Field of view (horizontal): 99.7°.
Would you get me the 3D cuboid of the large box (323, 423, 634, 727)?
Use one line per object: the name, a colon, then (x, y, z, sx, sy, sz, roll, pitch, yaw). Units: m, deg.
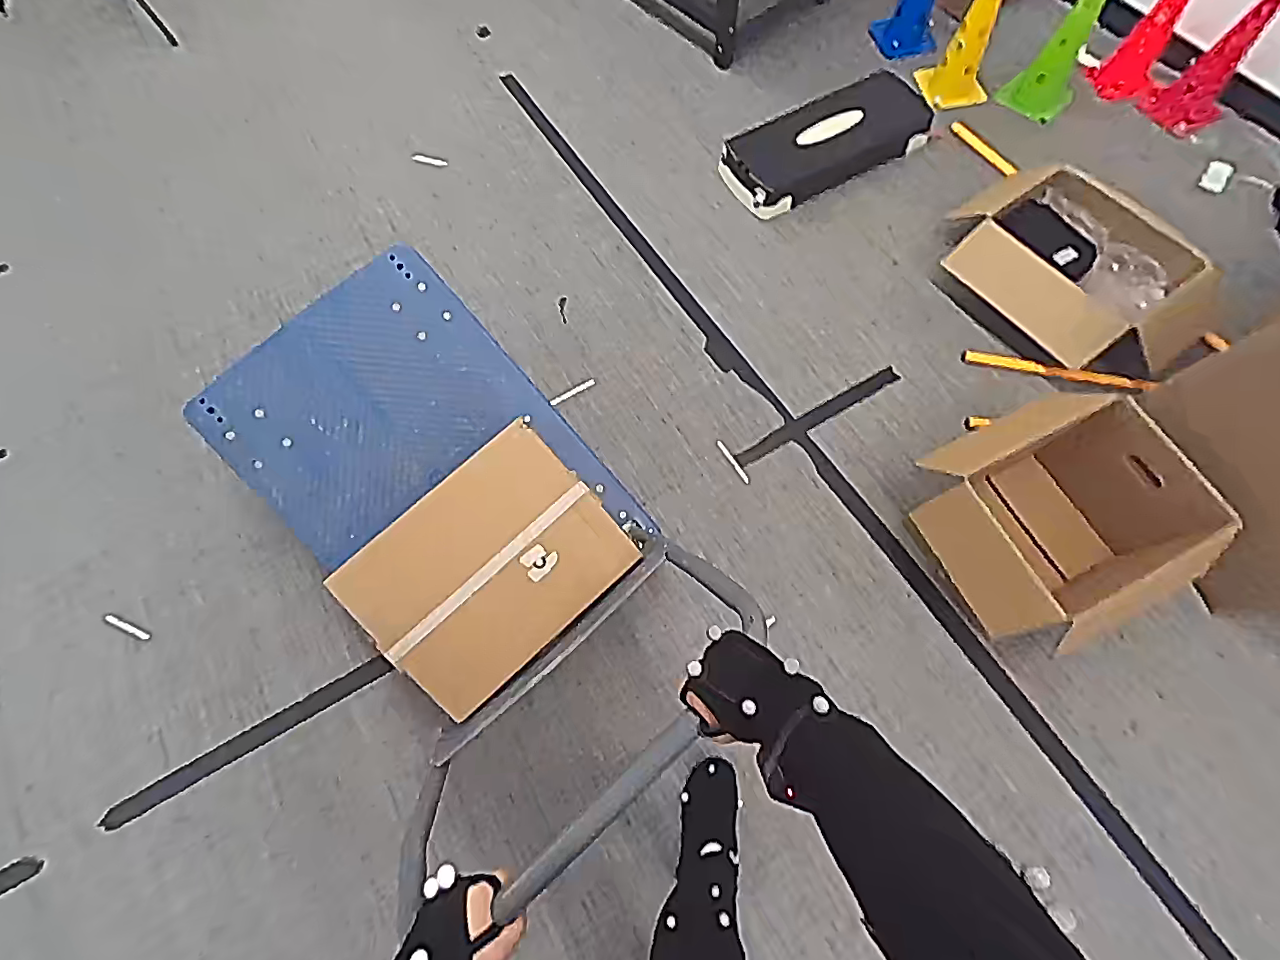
large box: (-0.274, 0.158, 1.017, 0.408, 0.320, 0.320, -43, 95, -9)
